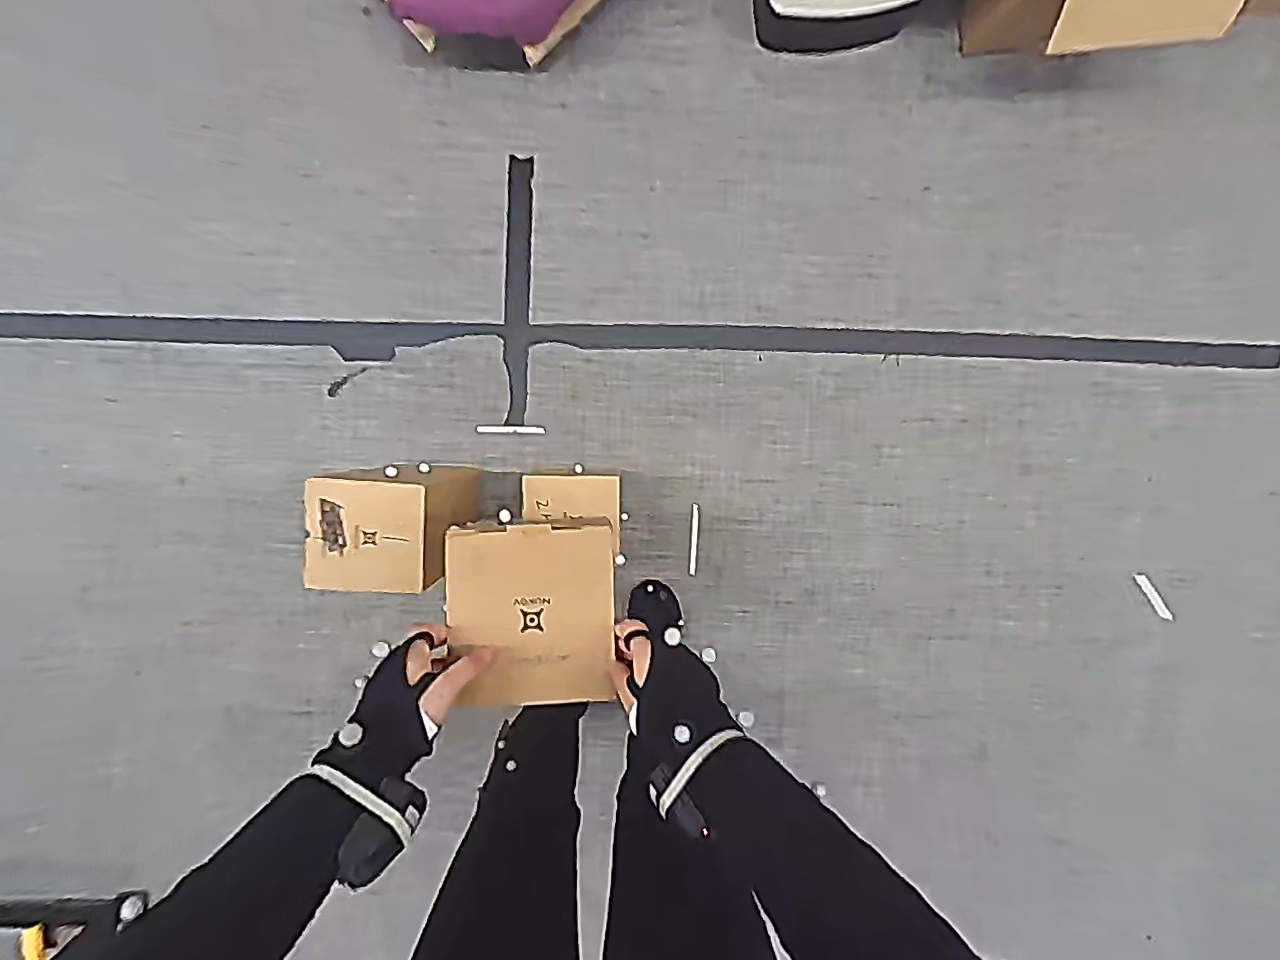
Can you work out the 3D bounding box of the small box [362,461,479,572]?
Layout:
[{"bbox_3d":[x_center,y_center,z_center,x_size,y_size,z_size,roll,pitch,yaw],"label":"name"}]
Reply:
[{"bbox_3d":[-0.411,0.062,1.030,0.168,0.176,0.179,4,97,-2],"label":"small box"}]

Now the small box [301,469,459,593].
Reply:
[{"bbox_3d":[-0.405,0.073,0.864,0.179,0.176,0.168,3,96,-2],"label":"small box"}]

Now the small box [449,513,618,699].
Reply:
[{"bbox_3d":[-0.112,0.128,0.617,0.168,0.176,0.179,-2,90,-4],"label":"small box"}]

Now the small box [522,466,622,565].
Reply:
[{"bbox_3d":[-0.125,0.062,1.037,0.179,0.176,0.168,0,96,-2],"label":"small box"}]
